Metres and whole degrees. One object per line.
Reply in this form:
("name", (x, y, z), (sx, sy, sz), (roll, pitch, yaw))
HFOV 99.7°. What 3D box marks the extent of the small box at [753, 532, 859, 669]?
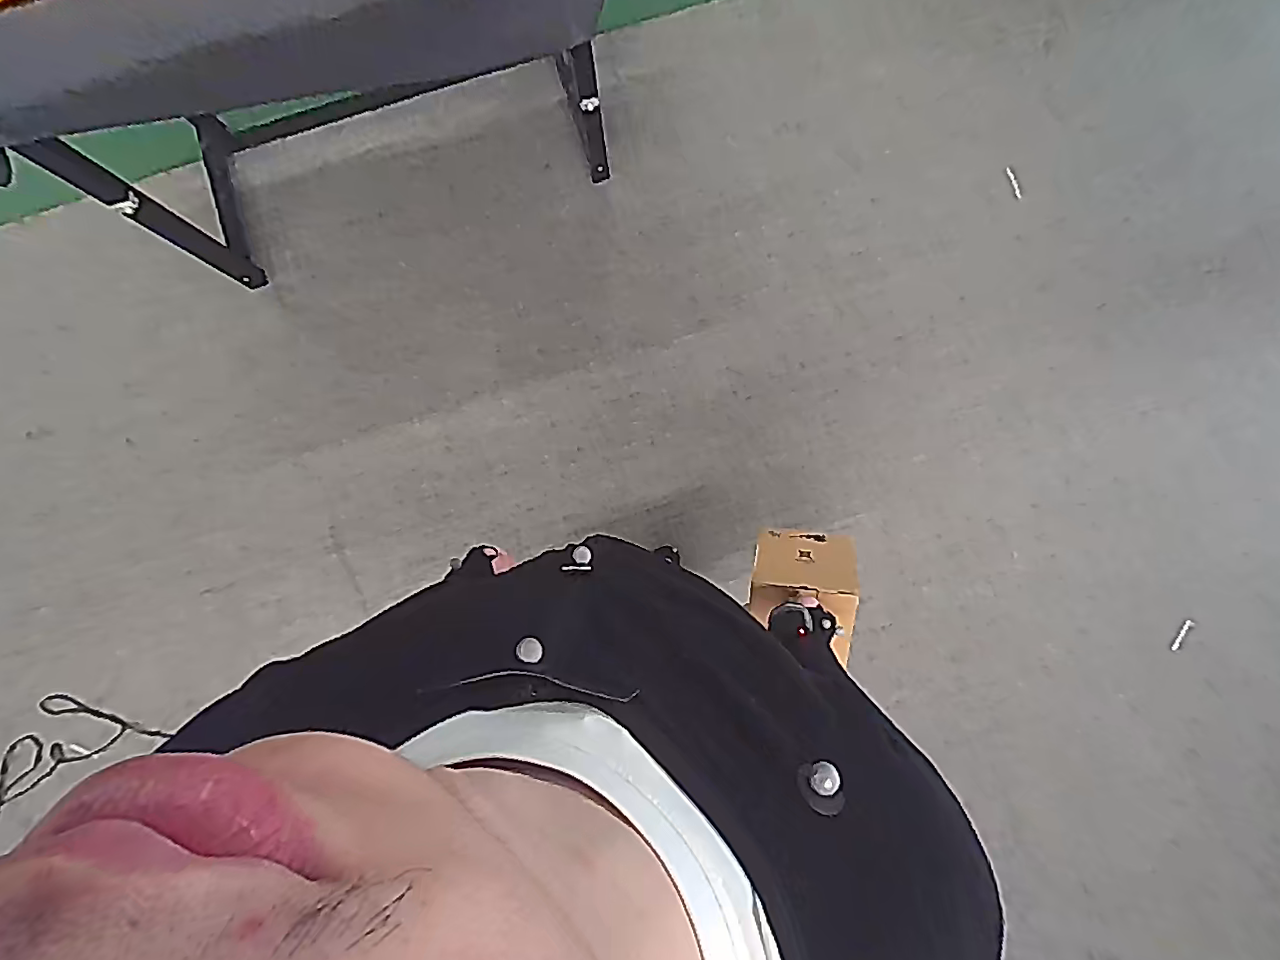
("small box", (0.292, 0.211, 0.967), (0.168, 0.179, 0.176), (2, 117, 14))
